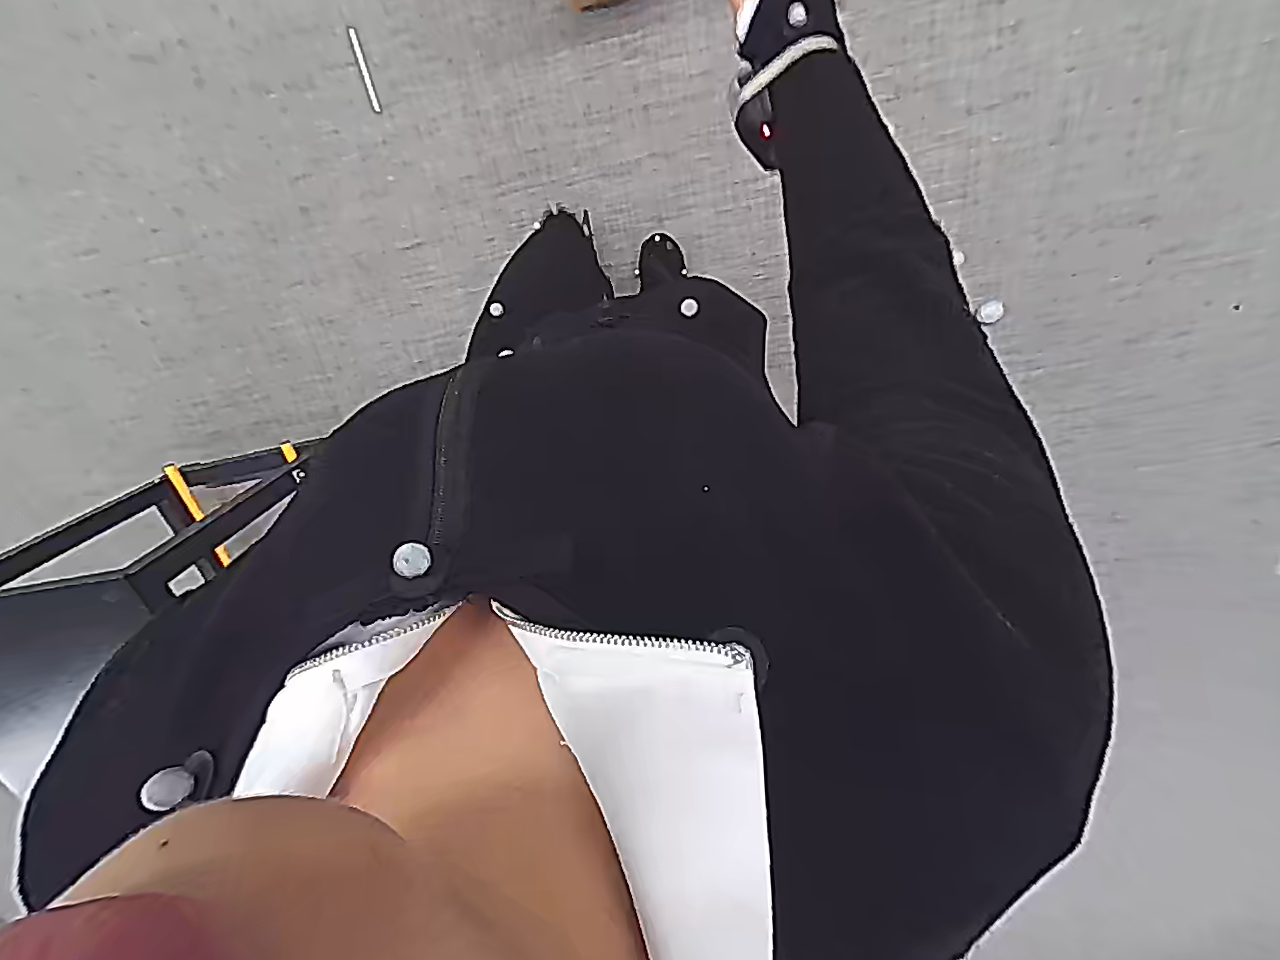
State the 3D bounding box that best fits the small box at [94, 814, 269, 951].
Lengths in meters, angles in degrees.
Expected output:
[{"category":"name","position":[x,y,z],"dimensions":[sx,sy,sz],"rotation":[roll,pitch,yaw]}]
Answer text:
[{"category":"small box","position":[-0.908,0.802,1.091],"dimensions":[0.168,0.176,0.179],"rotation":[-8,115,7]}]
